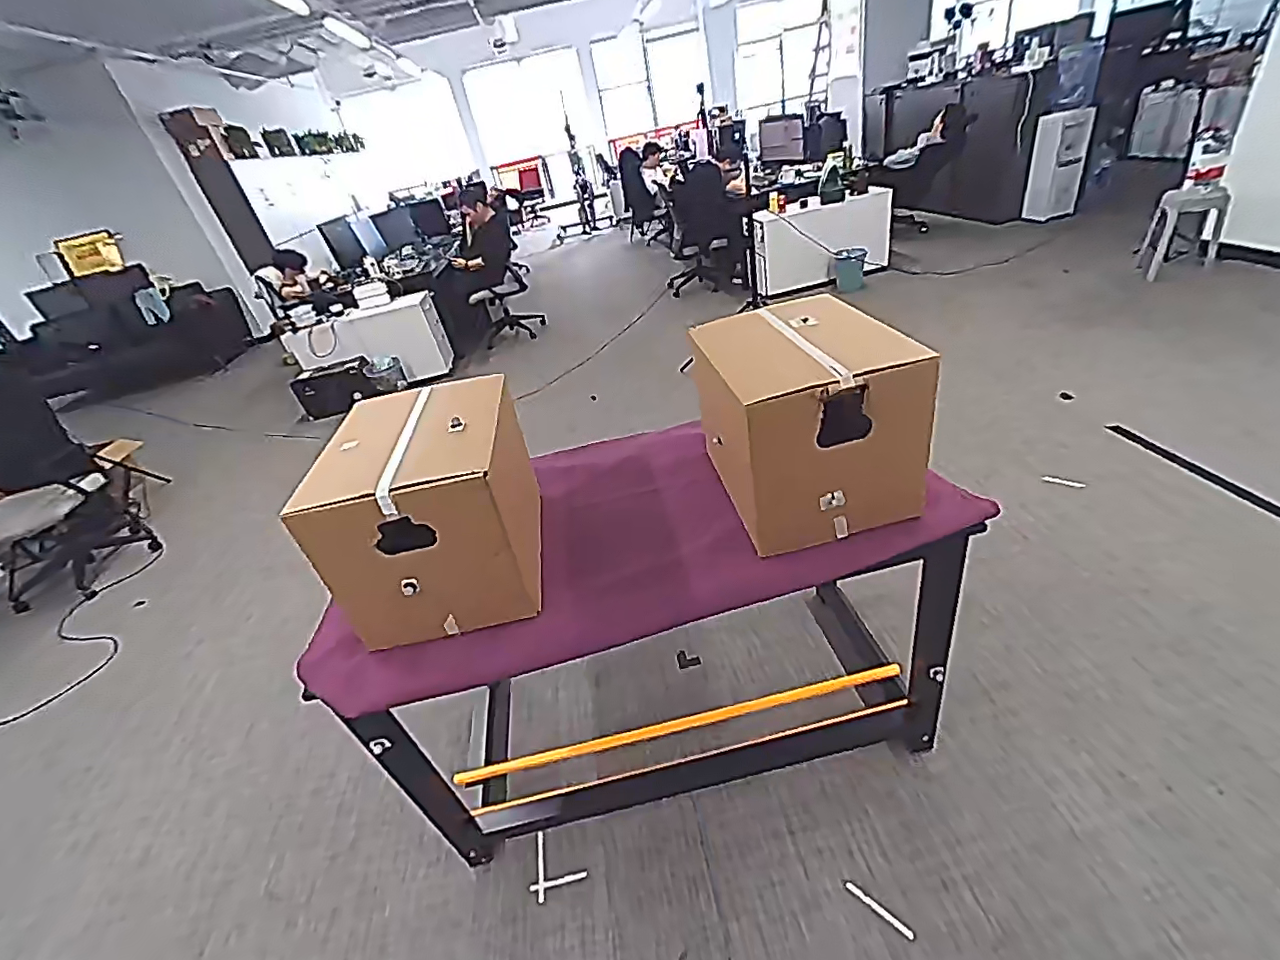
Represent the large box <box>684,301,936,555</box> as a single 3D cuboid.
[{"bbox_3d":[0.302,-0.120,1.054,0.320,0.320,0.408,-14,32,-2],"label":"large box"}]
